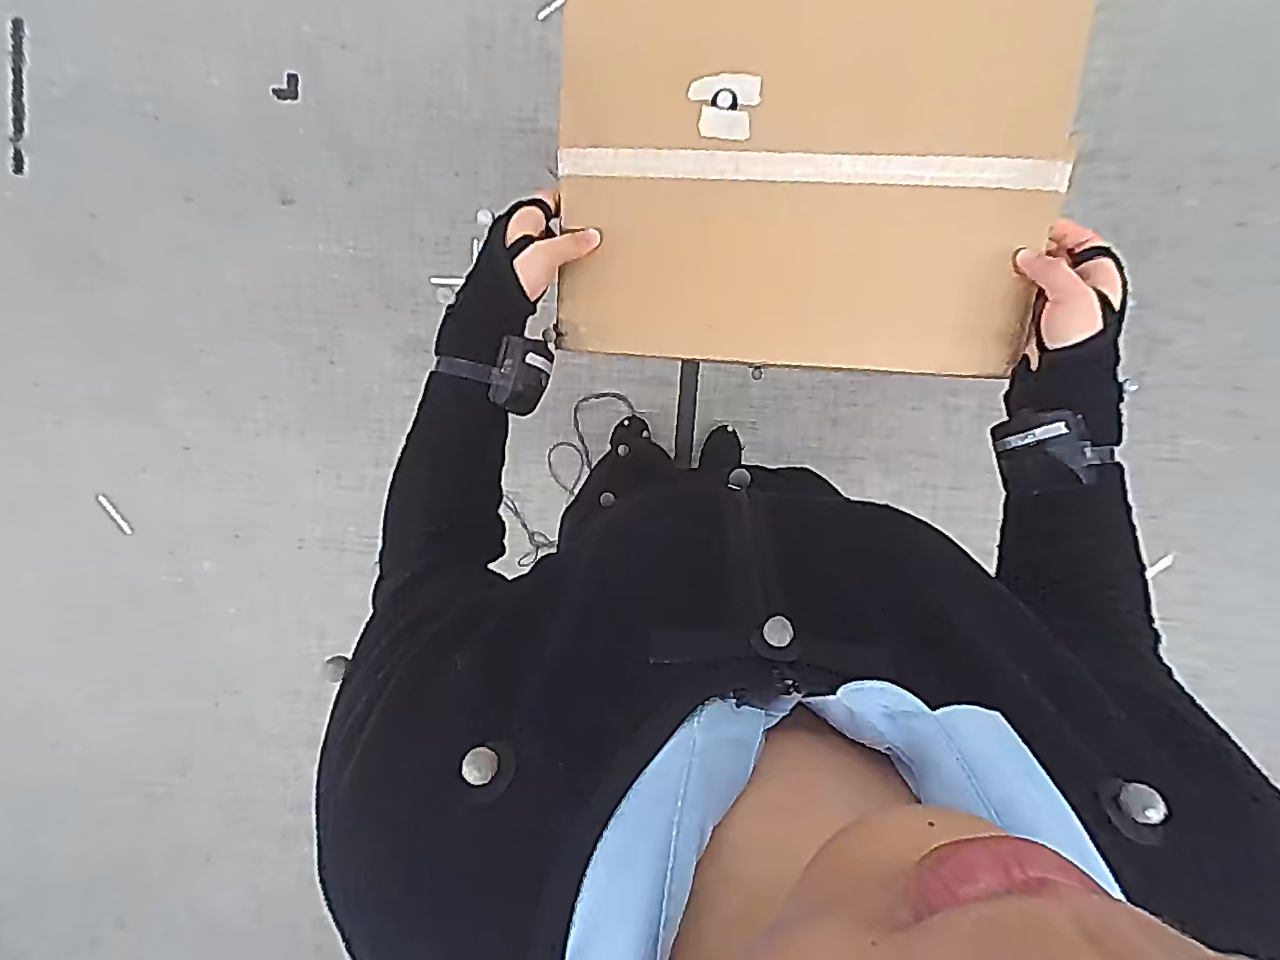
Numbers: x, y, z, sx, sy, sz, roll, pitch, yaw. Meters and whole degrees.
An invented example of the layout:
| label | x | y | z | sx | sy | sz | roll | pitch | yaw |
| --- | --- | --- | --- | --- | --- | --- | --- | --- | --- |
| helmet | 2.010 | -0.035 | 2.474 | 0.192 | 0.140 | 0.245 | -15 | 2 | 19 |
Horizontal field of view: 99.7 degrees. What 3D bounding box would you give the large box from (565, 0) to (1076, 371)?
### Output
| label | x | y | z | sx | sy | sz | roll | pitch | yaw |
| --- | --- | --- | --- | --- | --- | --- | --- | --- | --- |
| large box | 0.151 | -0.288 | 0.605 | 0.408 | 0.320 | 0.320 | 5 | 101 | 6 |
